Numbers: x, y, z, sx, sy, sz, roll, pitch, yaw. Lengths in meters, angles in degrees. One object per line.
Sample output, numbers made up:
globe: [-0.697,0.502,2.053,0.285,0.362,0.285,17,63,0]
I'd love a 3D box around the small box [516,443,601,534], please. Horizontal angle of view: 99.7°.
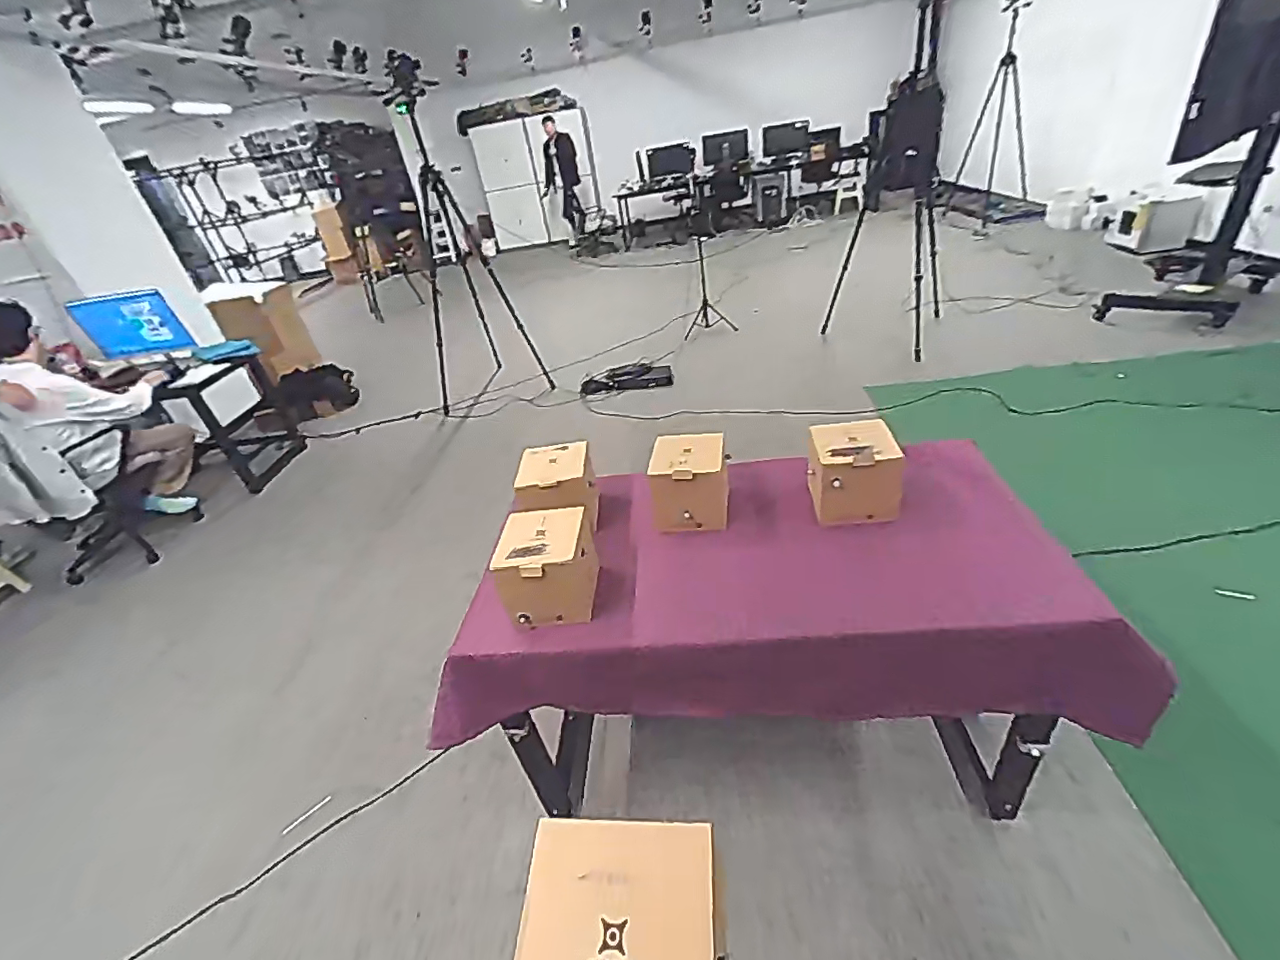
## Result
small box: [-0.196,0.031,1.357,0.168,0.176,0.179,-8,34,4]

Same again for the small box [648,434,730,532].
small box: [0.124,0.007,1.296,0.168,0.176,0.179,-2,34,14]

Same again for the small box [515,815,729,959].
small box: [-0.006,0.431,0.496,0.168,0.176,0.179,-5,45,11]

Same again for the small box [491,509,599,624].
small box: [-0.186,0.184,1.123,0.168,0.176,0.179,-6,32,7]
